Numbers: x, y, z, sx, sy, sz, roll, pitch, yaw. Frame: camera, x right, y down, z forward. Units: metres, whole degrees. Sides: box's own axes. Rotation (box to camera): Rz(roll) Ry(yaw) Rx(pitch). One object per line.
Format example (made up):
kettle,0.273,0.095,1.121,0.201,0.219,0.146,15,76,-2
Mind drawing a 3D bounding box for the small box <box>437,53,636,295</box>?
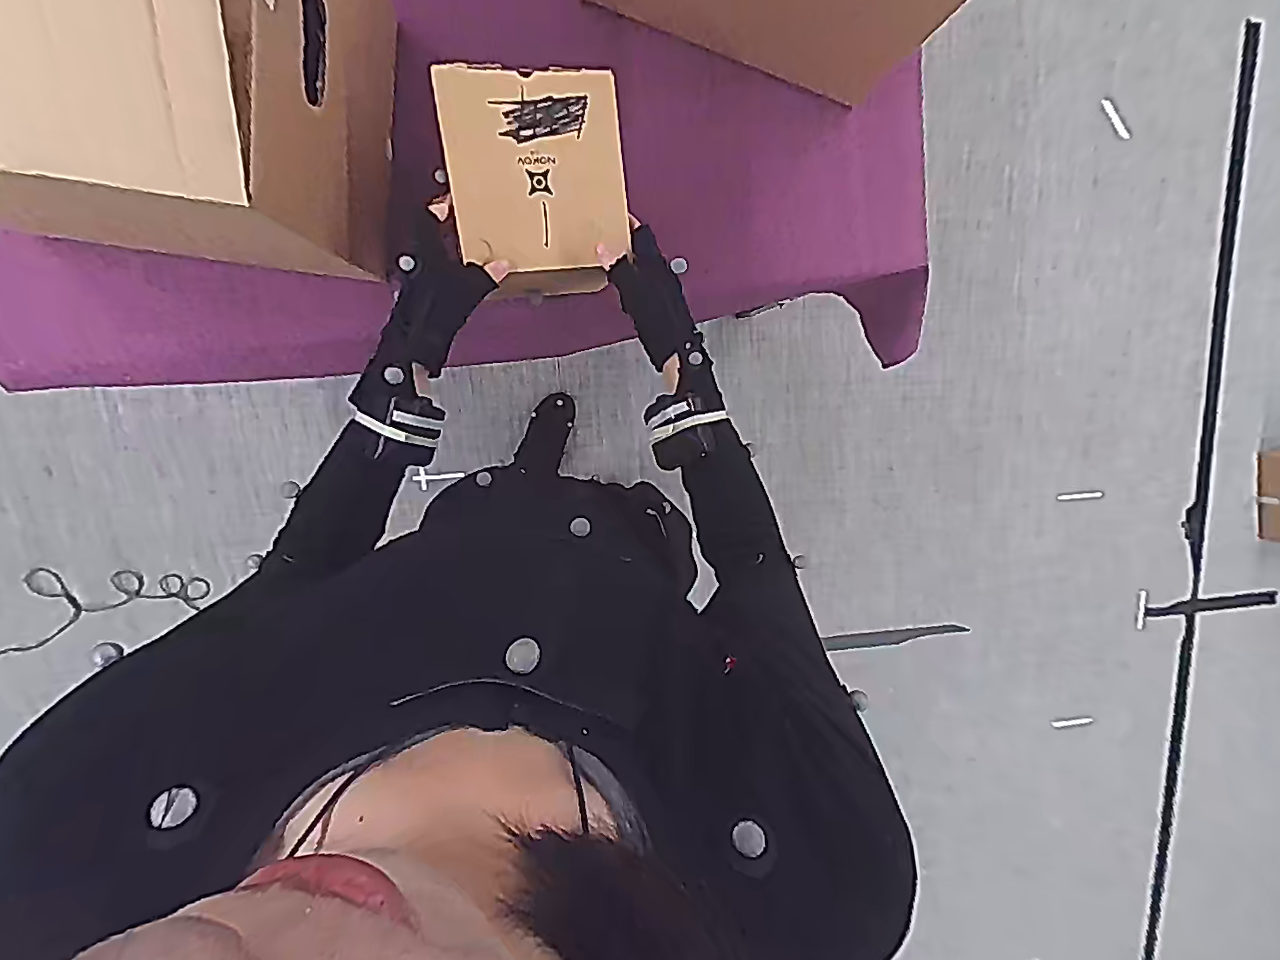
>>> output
small box,-0.112,-0.303,0.572,0.168,0.176,0.179,-9,103,-15
